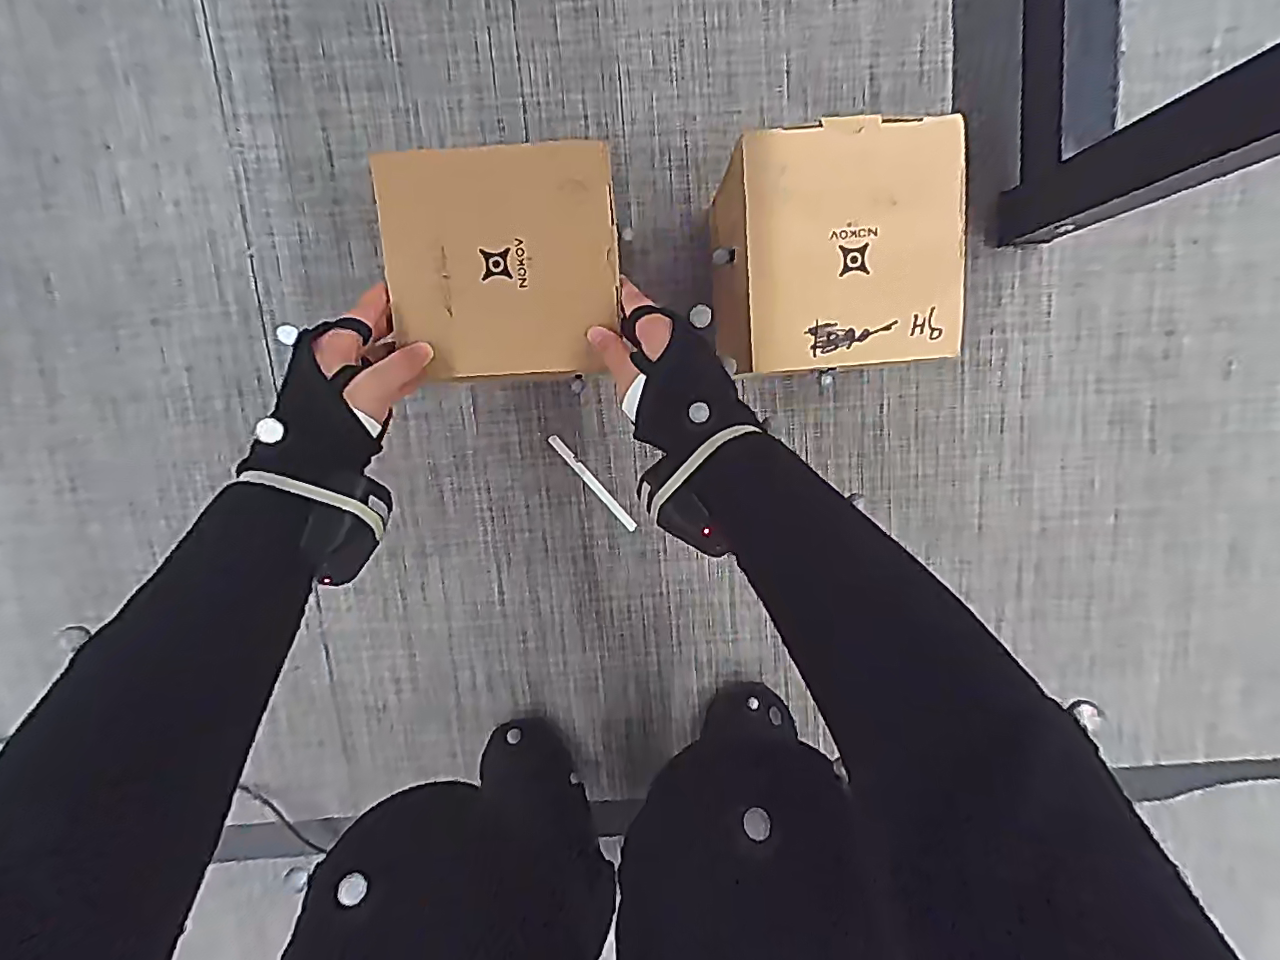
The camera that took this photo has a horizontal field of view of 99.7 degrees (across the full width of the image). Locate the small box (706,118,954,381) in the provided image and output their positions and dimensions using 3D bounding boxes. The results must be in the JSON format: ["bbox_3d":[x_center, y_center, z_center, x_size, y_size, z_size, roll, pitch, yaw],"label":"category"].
[{"bbox_3d":[0.155,-0.188,0.490,0.168,0.176,0.179,-5,98,0],"label":"small box"}]

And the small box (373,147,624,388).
[{"bbox_3d":[-0.107,-0.172,0.490,0.179,0.176,0.168,-5,98,0],"label":"small box"}]
